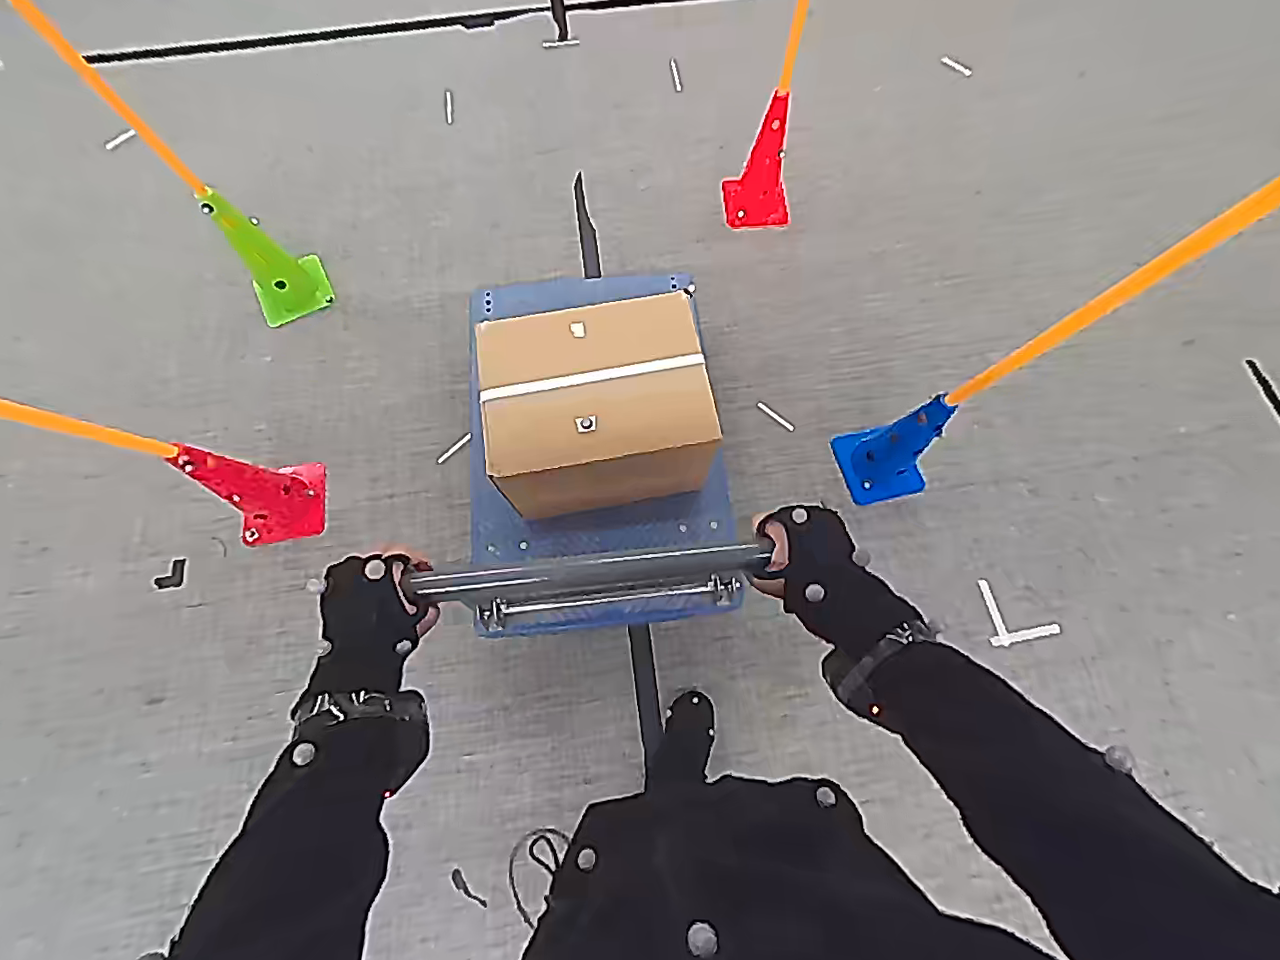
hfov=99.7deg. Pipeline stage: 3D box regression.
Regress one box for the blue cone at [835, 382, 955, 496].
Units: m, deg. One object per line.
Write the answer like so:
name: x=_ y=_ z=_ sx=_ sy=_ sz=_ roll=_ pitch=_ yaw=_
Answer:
blue cone: x=0.629 y=-0.111 z=1.275 sx=0.193 sy=0.380 sz=0.192 roll=-11 pitch=70 yaw=-5

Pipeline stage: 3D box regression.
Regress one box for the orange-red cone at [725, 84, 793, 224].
orange-red cone: x=0.374 y=-0.942 z=1.546 sx=0.199 sy=0.360 sz=0.198 roll=-1 pitch=72 yaw=-2
